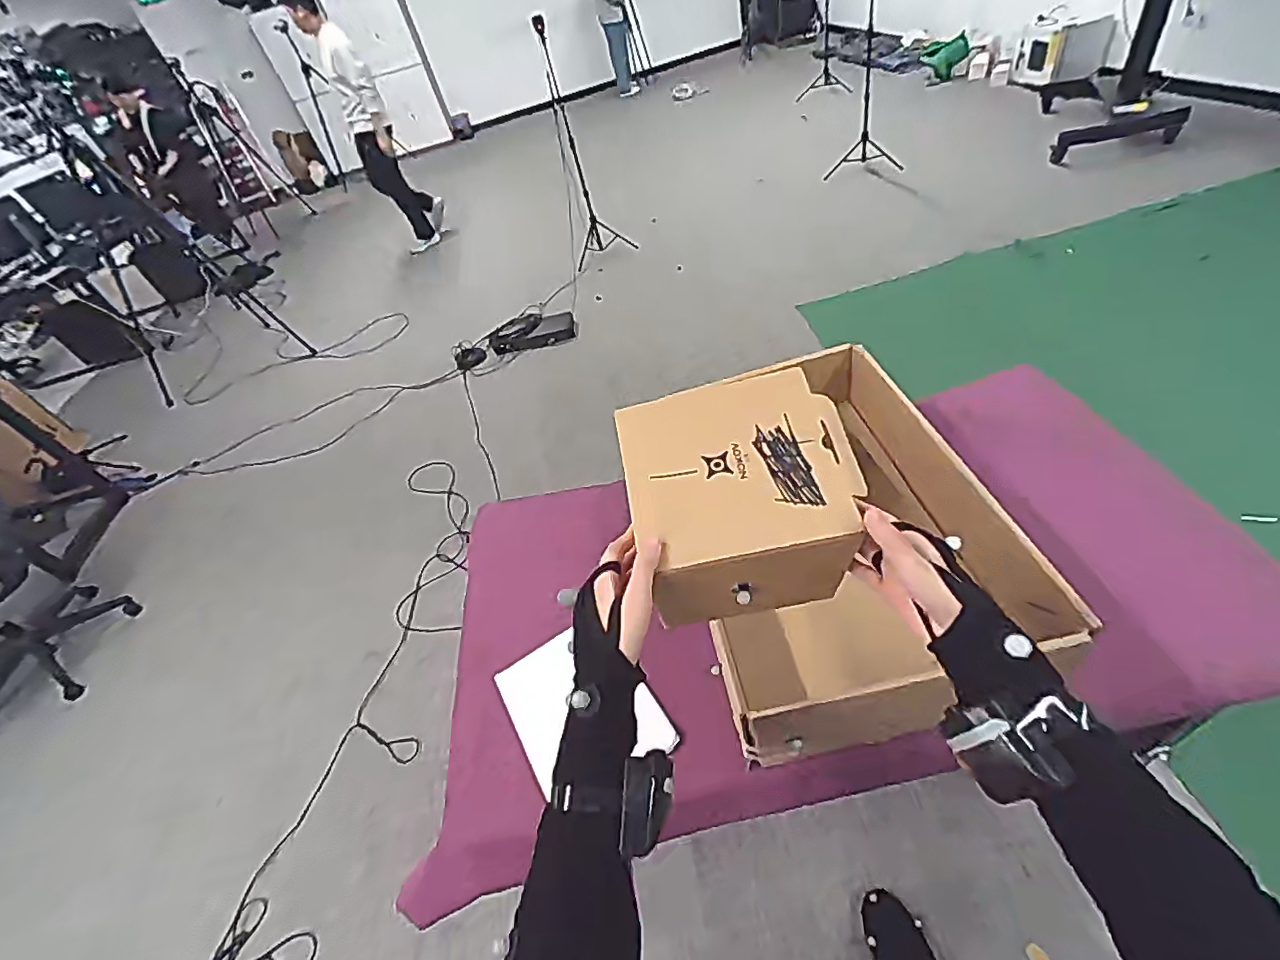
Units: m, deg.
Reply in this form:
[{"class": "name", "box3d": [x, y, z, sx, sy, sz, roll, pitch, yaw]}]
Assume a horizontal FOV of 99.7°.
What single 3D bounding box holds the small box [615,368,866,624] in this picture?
[{"class": "small box", "box3d": [0.084, 0.025, 0.510, 0.179, 0.176, 0.168, -12, 60, 4]}]
